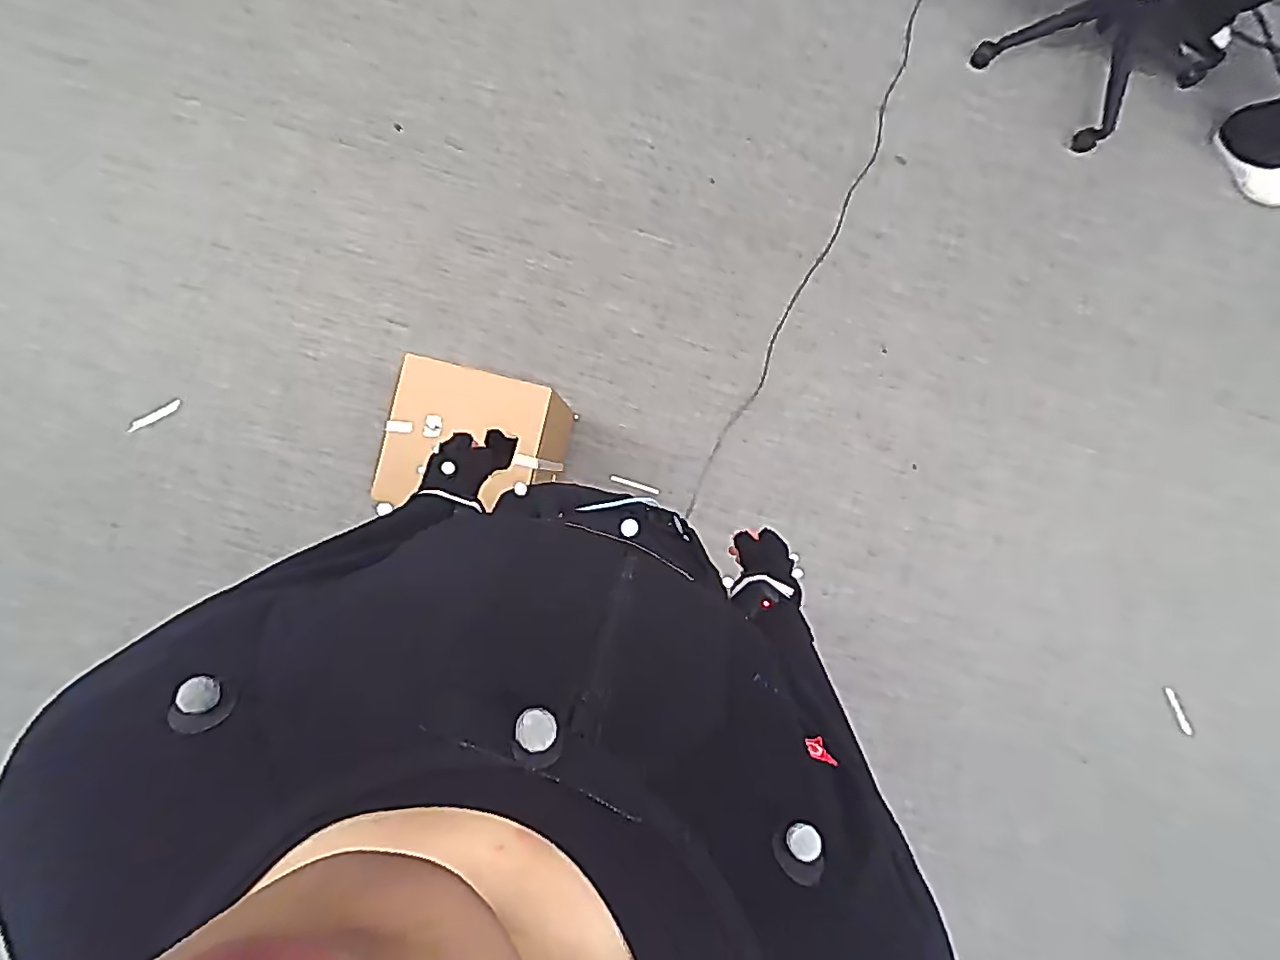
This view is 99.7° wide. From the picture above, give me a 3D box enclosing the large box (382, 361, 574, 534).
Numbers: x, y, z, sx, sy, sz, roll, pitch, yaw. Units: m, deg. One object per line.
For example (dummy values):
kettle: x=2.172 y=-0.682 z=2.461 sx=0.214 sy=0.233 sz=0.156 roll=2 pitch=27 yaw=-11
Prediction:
large box: x=-0.361 y=-0.074 z=1.306 sx=0.320 sy=0.408 sz=0.320 roll=14 pitch=90 yaw=-1
